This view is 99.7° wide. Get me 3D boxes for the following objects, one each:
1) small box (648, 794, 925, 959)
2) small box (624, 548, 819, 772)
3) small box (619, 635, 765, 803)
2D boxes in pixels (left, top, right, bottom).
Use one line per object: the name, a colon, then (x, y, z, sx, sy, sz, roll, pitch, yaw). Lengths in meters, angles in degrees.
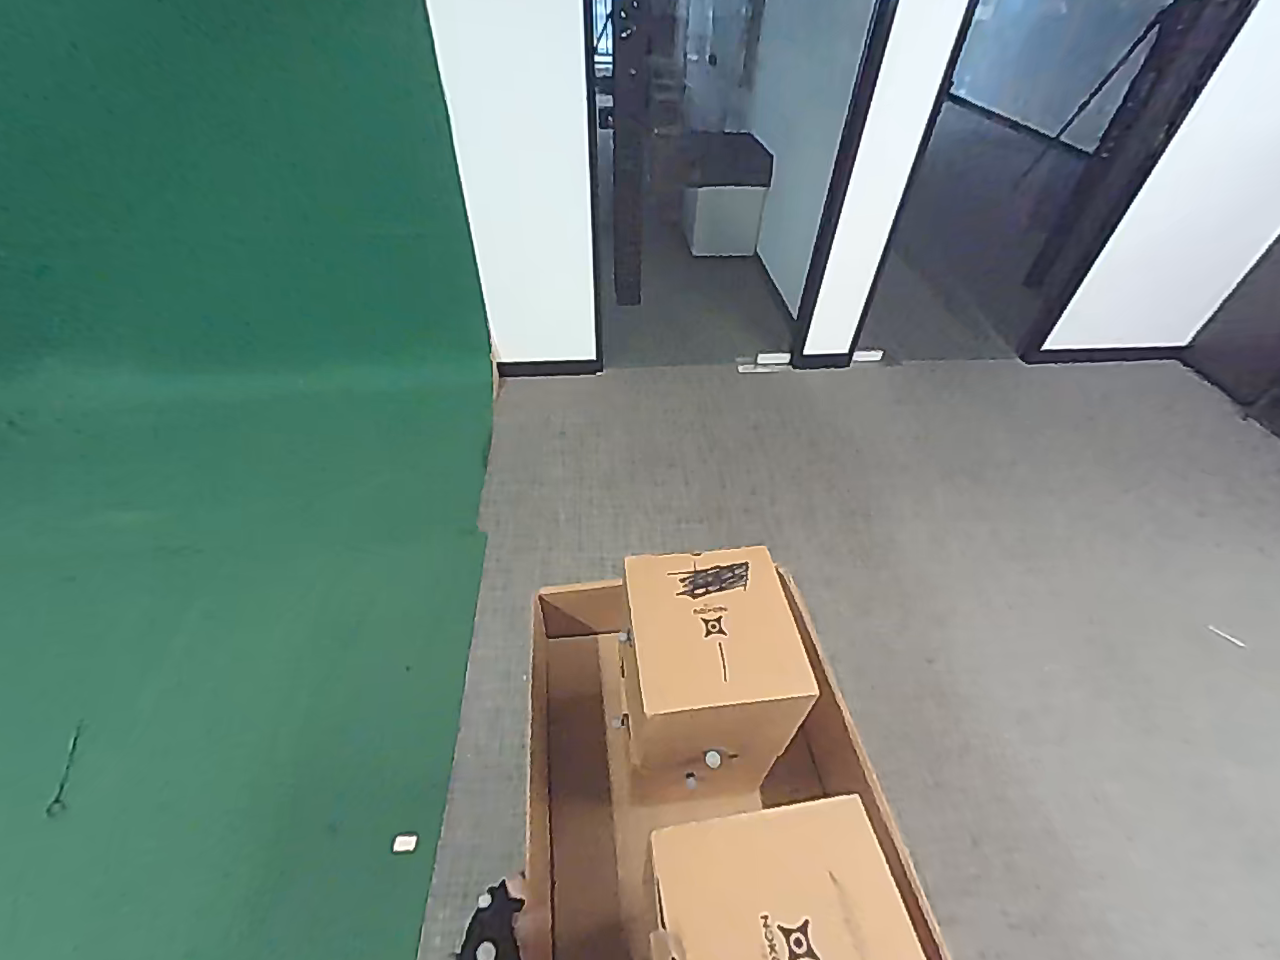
small box: (0.102, 0.376, 0.425, 0.179, 0.176, 0.168, -5, 44, -8)
small box: (0.072, 0.199, 0.602, 0.168, 0.176, 0.179, -4, 46, -6)
small box: (0.066, 0.313, 0.721, 0.179, 0.176, 0.168, -3, 46, -6)
